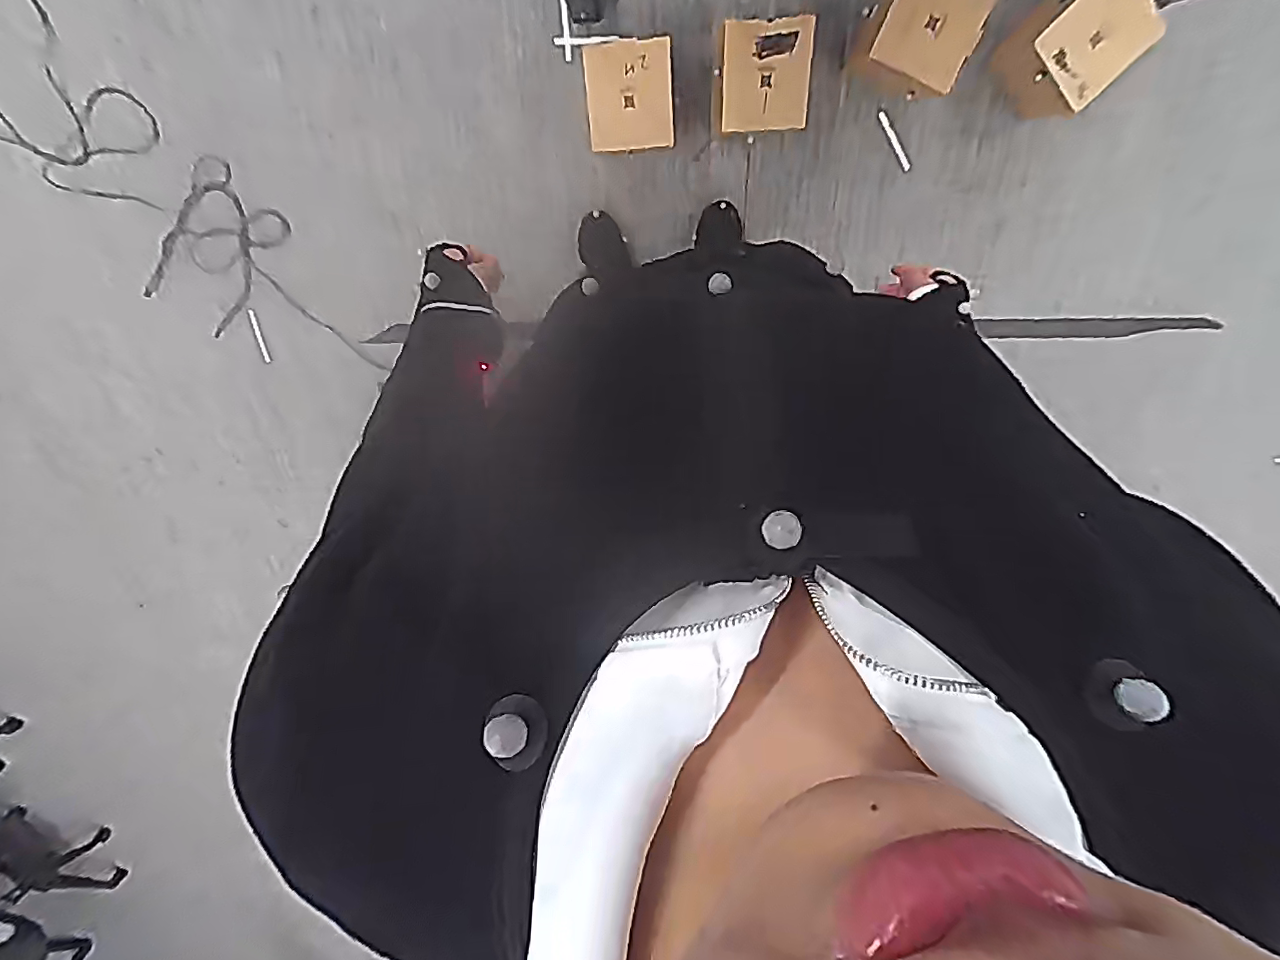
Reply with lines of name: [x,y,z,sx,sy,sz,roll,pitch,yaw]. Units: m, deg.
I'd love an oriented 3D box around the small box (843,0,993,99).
small box: [0.529,-0.869,1.049,0.179,0.176,0.168,18,117,-8]

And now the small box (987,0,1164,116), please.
small box: [0.832,-0.852,1.050,0.168,0.176,0.179,39,113,-18]

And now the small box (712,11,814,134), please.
small box: [0.237,-0.807,1.087,0.168,0.176,0.179,-1,120,2]
